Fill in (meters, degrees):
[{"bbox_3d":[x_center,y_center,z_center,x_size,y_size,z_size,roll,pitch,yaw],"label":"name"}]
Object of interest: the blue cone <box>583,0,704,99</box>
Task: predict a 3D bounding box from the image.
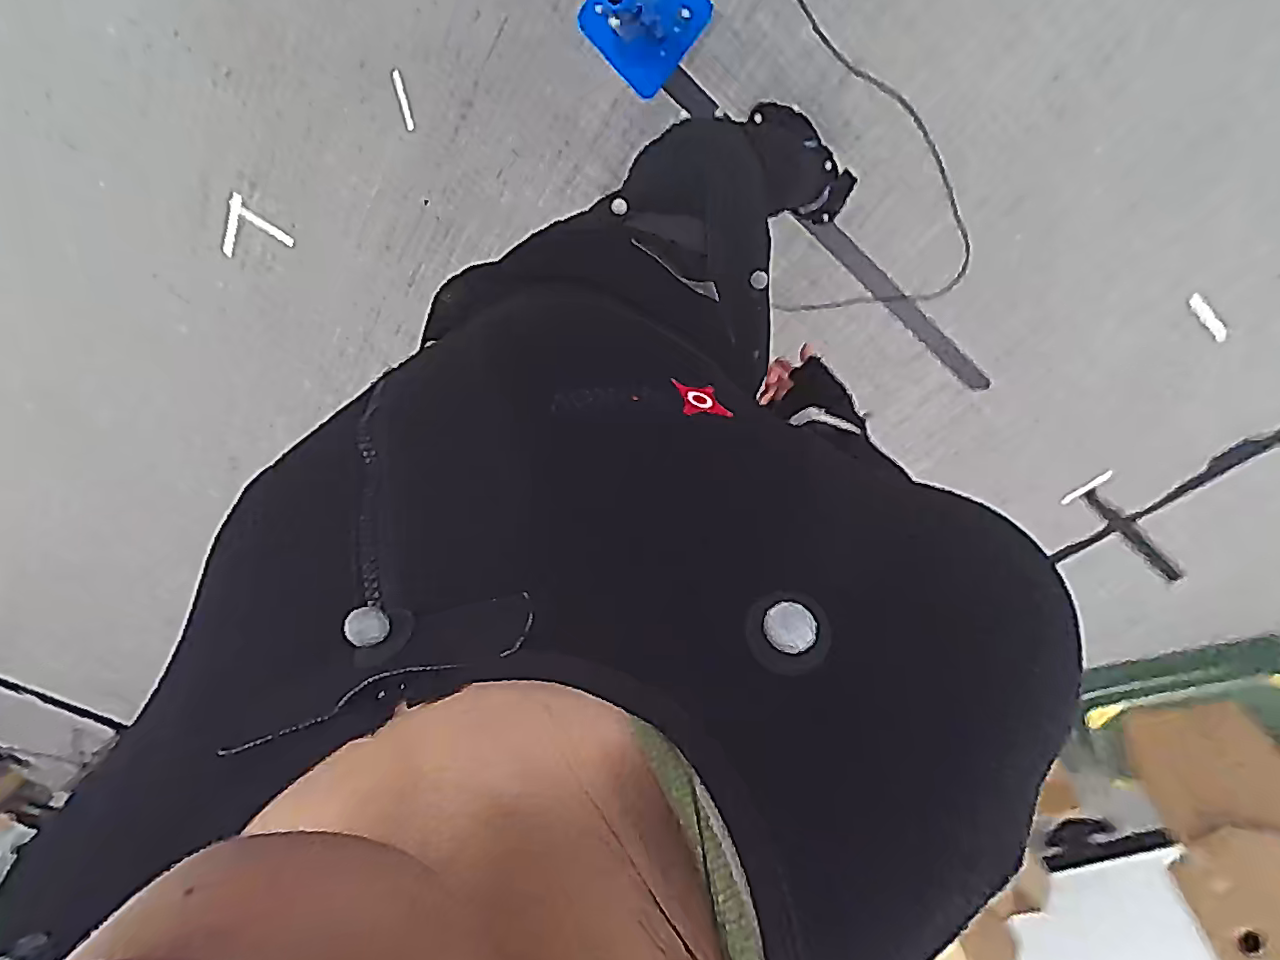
[{"bbox_3d":[-0.015,-0.774,0.886,0.192,0.380,0.193,37,122,-18],"label":"blue cone"}]
